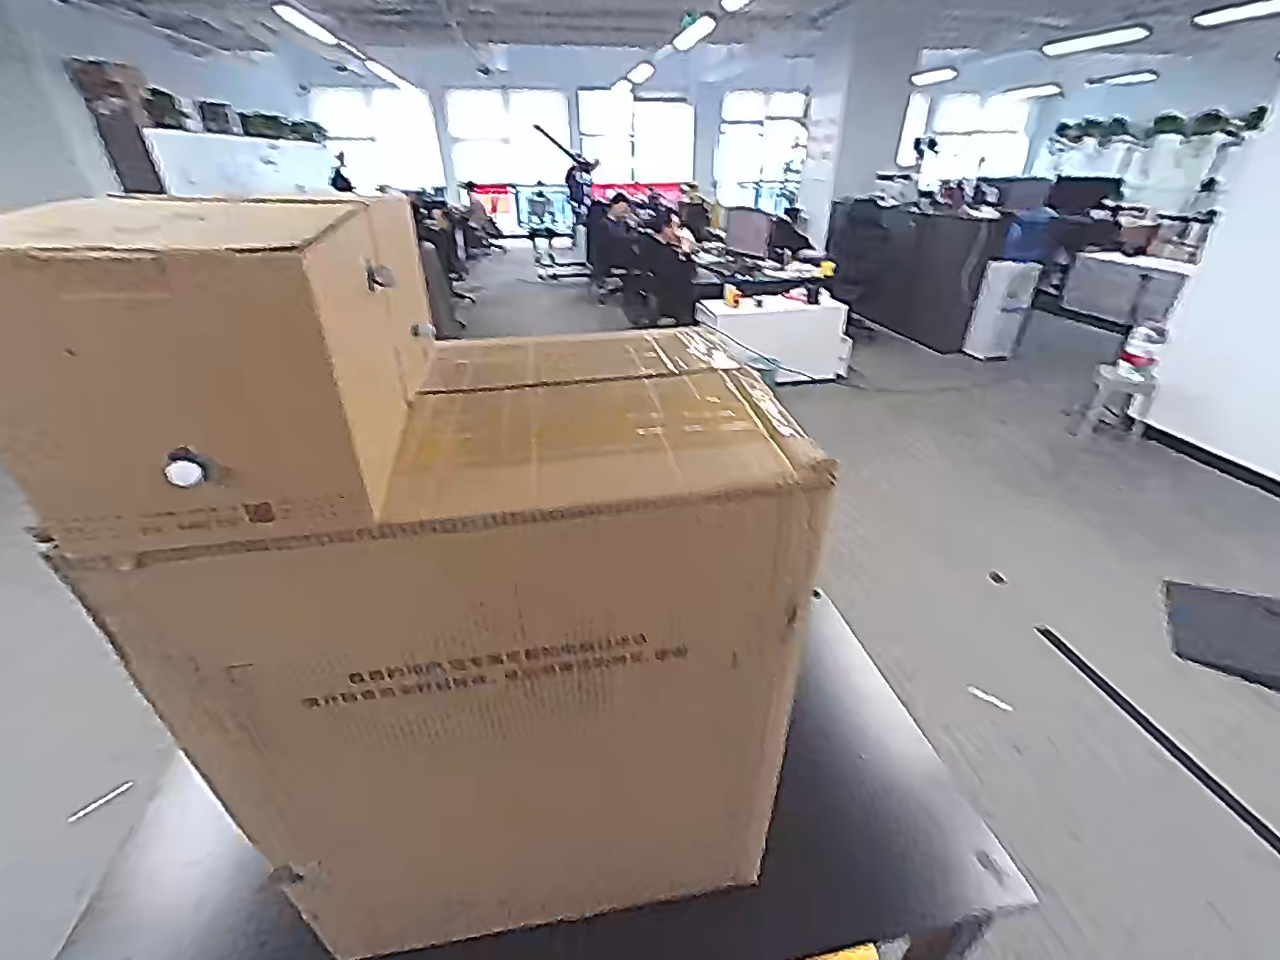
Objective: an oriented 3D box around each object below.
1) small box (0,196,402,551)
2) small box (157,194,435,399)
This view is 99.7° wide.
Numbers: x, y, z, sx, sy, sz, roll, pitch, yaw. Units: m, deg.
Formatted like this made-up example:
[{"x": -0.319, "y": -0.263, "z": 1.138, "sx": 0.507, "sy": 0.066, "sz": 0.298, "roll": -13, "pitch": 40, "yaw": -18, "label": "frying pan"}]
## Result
[{"x": -0.261, "y": -0.078, "z": 0.349, "sx": 0.168, "sy": 0.176, "sz": 0.179, "roll": -6, "pitch": 34, "yaw": -13, "label": "small box"}, {"x": -0.305, "y": -0.168, "z": 0.501, "sx": 0.179, "sy": 0.176, "sz": 0.168, "roll": -5, "pitch": 29, "yaw": -9, "label": "small box"}]
